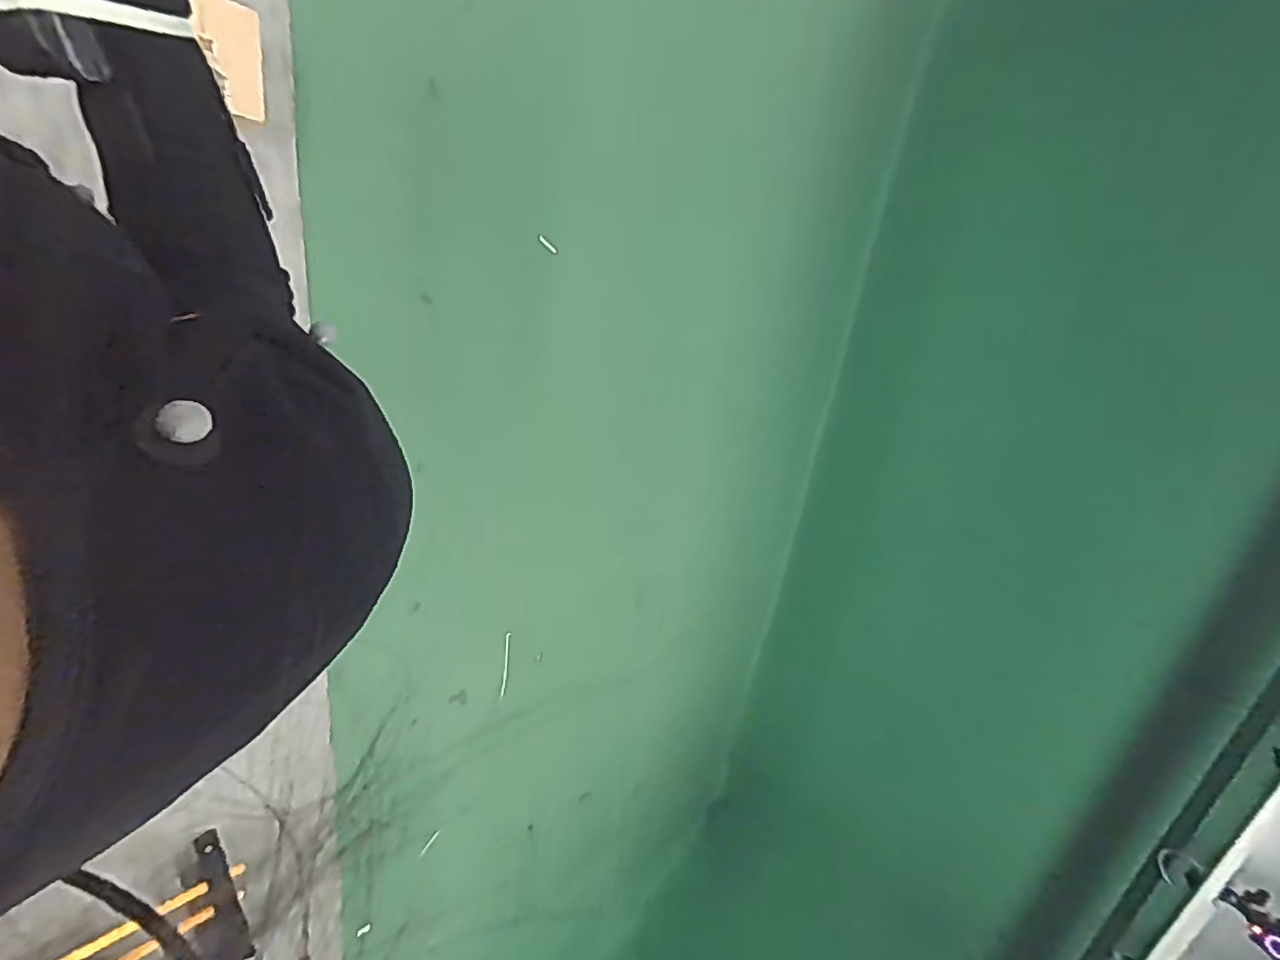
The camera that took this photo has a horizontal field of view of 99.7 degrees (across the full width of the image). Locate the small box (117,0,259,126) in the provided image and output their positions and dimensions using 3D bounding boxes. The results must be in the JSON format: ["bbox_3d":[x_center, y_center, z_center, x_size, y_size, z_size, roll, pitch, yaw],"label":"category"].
[{"bbox_3d":[-0.803,-0.757,0.964,0.168,0.176,0.179,-12,118,-47],"label":"small box"}]
